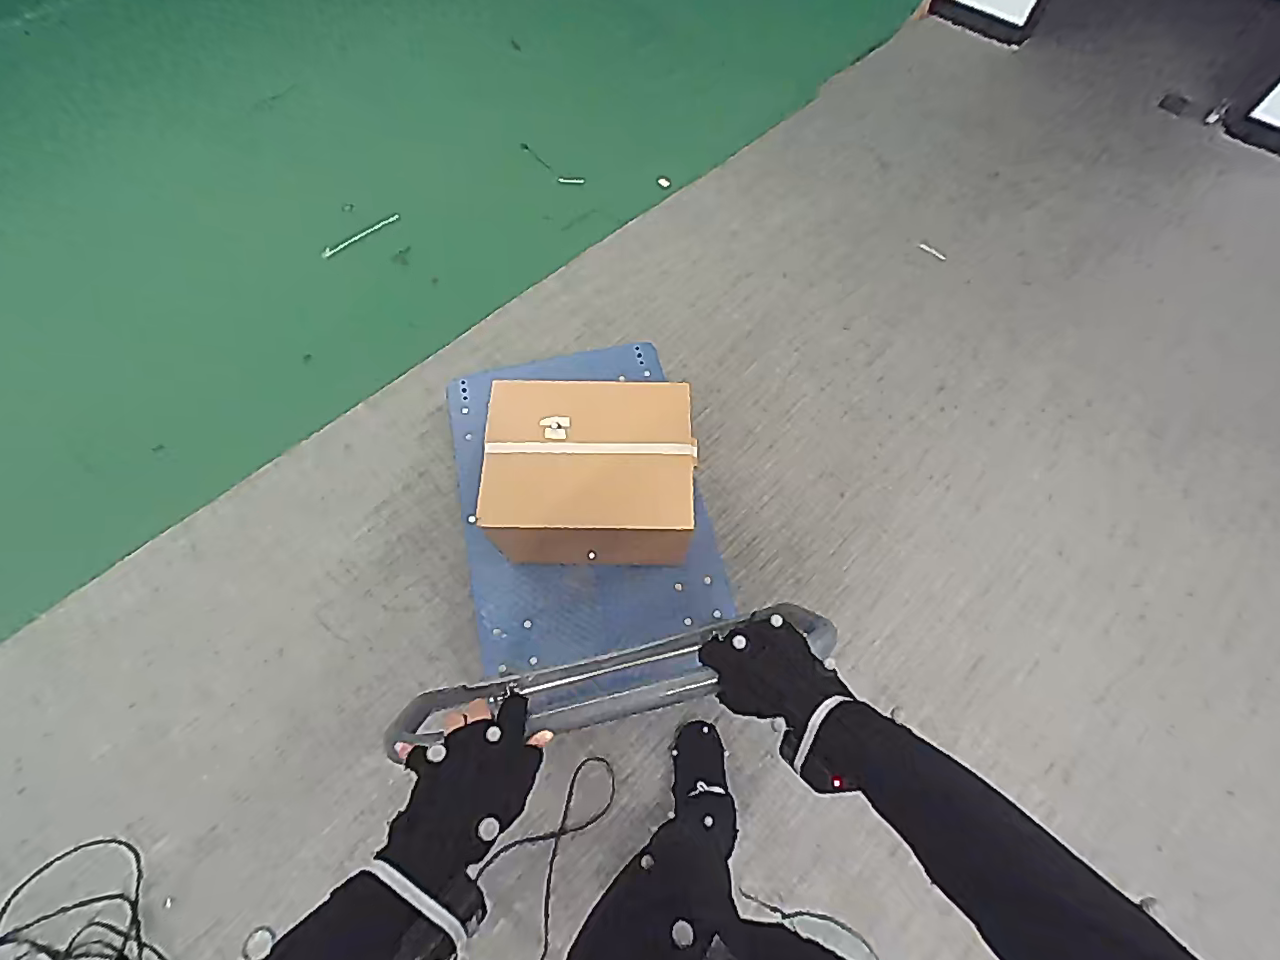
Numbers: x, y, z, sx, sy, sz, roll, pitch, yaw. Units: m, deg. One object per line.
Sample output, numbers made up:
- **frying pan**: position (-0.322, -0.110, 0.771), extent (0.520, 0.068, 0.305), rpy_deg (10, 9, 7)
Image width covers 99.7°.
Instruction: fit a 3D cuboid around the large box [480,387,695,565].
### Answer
- **large box**: position (-0.095, 0.007, 1.186), extent (0.408, 0.320, 0.320), rpy_deg (0, 69, 1)
